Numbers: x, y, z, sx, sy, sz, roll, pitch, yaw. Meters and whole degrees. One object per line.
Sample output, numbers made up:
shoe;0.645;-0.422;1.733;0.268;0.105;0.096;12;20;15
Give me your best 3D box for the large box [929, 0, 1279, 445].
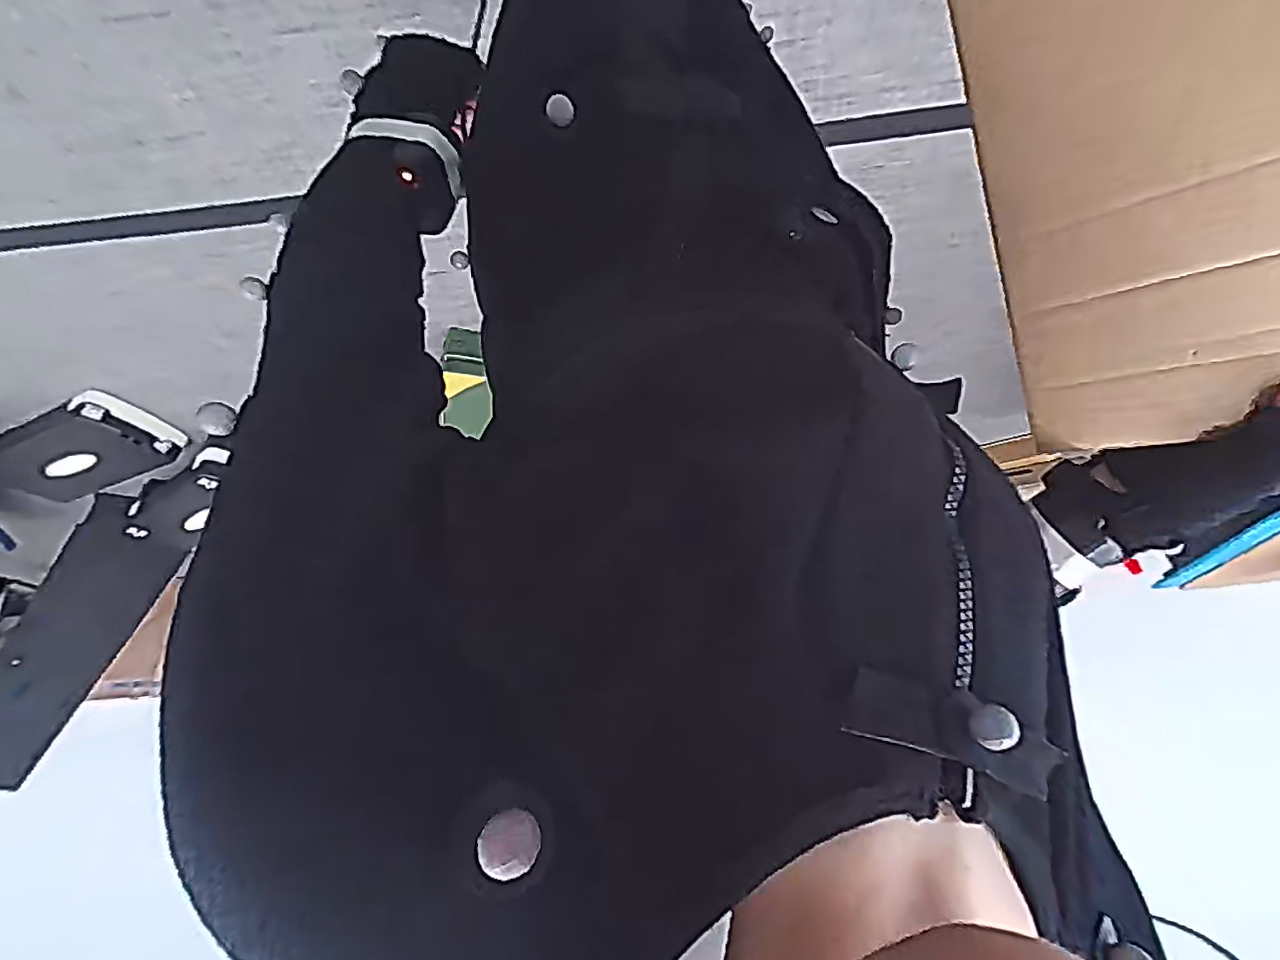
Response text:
large box;0.395;-0.281;0.319;0.320;0.320;0.408;-5;117;46
